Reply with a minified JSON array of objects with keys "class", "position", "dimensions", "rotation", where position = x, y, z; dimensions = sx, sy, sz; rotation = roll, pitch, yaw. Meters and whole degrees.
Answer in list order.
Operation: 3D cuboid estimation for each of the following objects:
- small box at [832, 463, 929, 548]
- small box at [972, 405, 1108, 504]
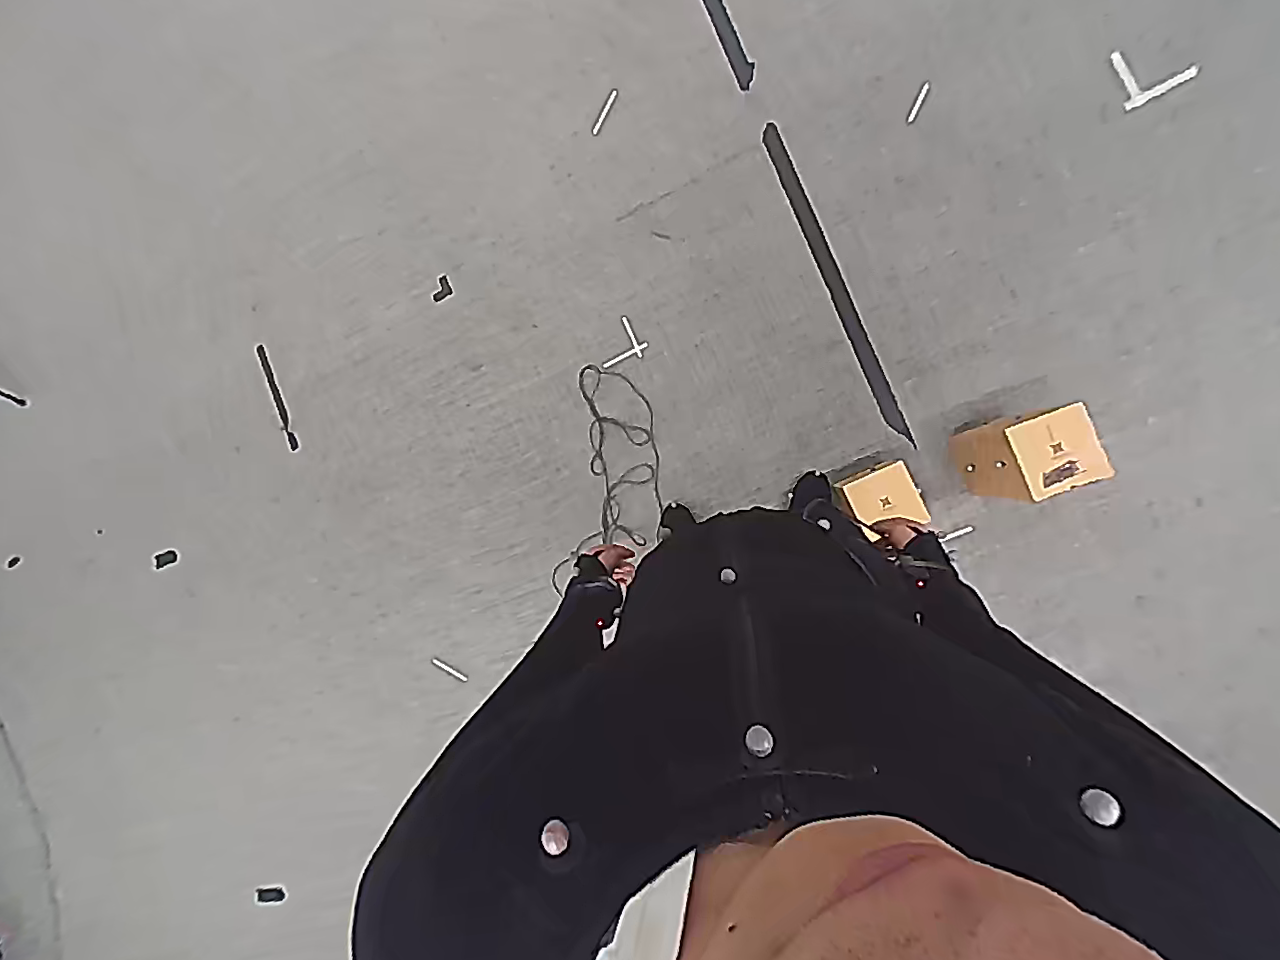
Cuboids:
[{"class":"small box","position":[0.647,0.066,1.479],"dimensions":[0.168,0.176,0.179],"rotation":[-26,87,10]},{"class":"small box","position":[0.918,-0.057,1.257],"dimensions":[0.168,0.176,0.179],"rotation":[-22,86,10]}]
